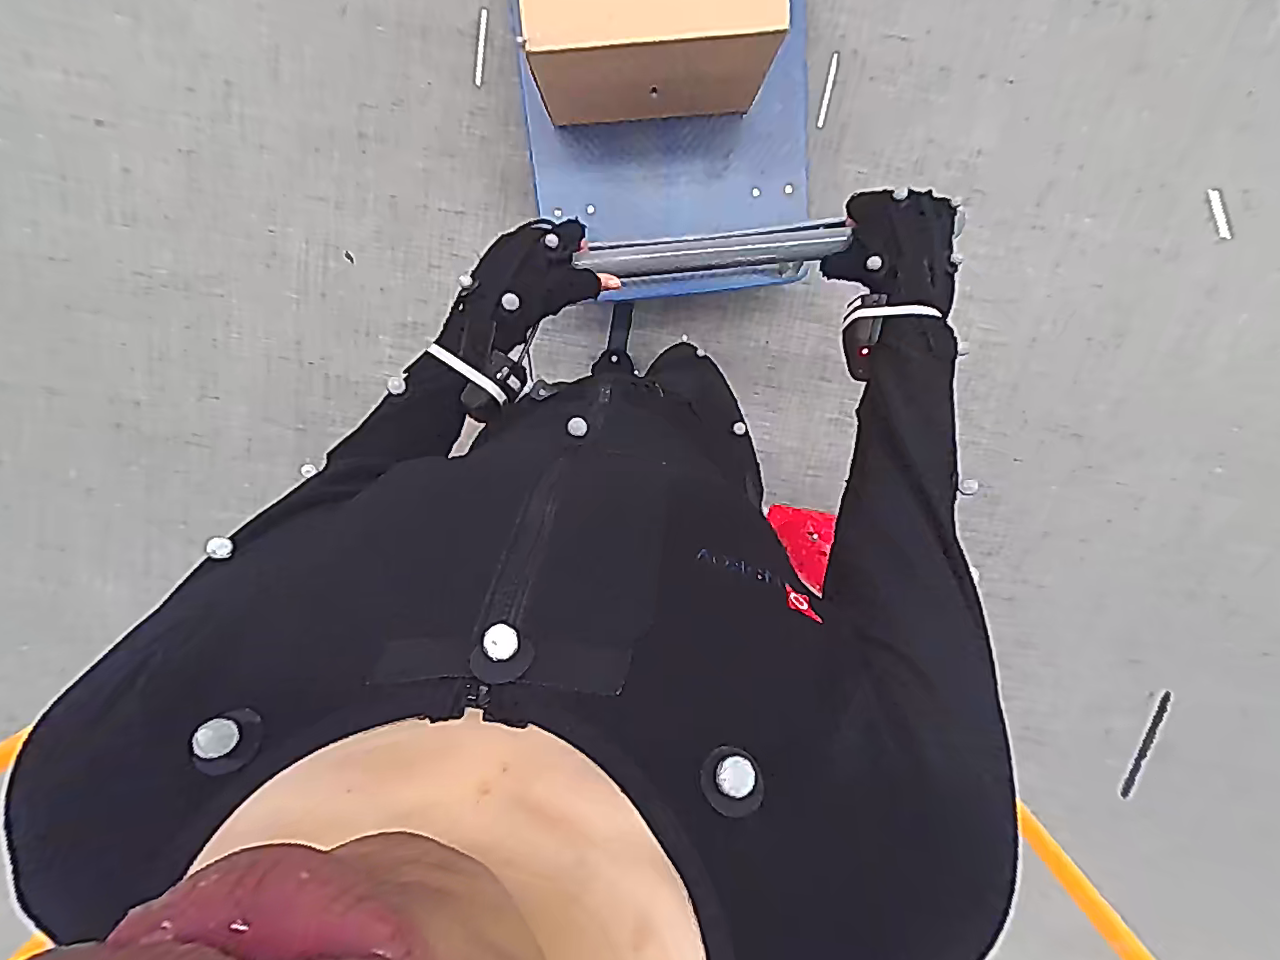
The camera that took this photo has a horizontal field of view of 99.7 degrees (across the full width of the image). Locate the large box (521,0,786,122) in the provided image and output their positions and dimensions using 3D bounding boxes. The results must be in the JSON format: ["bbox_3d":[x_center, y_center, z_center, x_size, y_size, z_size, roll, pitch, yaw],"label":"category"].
[{"bbox_3d":[0.014,-0.852,0.925,0.408,0.320,0.320,-4,105,1],"label":"large box"}]

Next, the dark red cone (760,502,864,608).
[{"bbox_3d":[0.447,0.207,1.333,0.201,0.394,0.202,9,105,-5],"label":"dark red cone"}]
